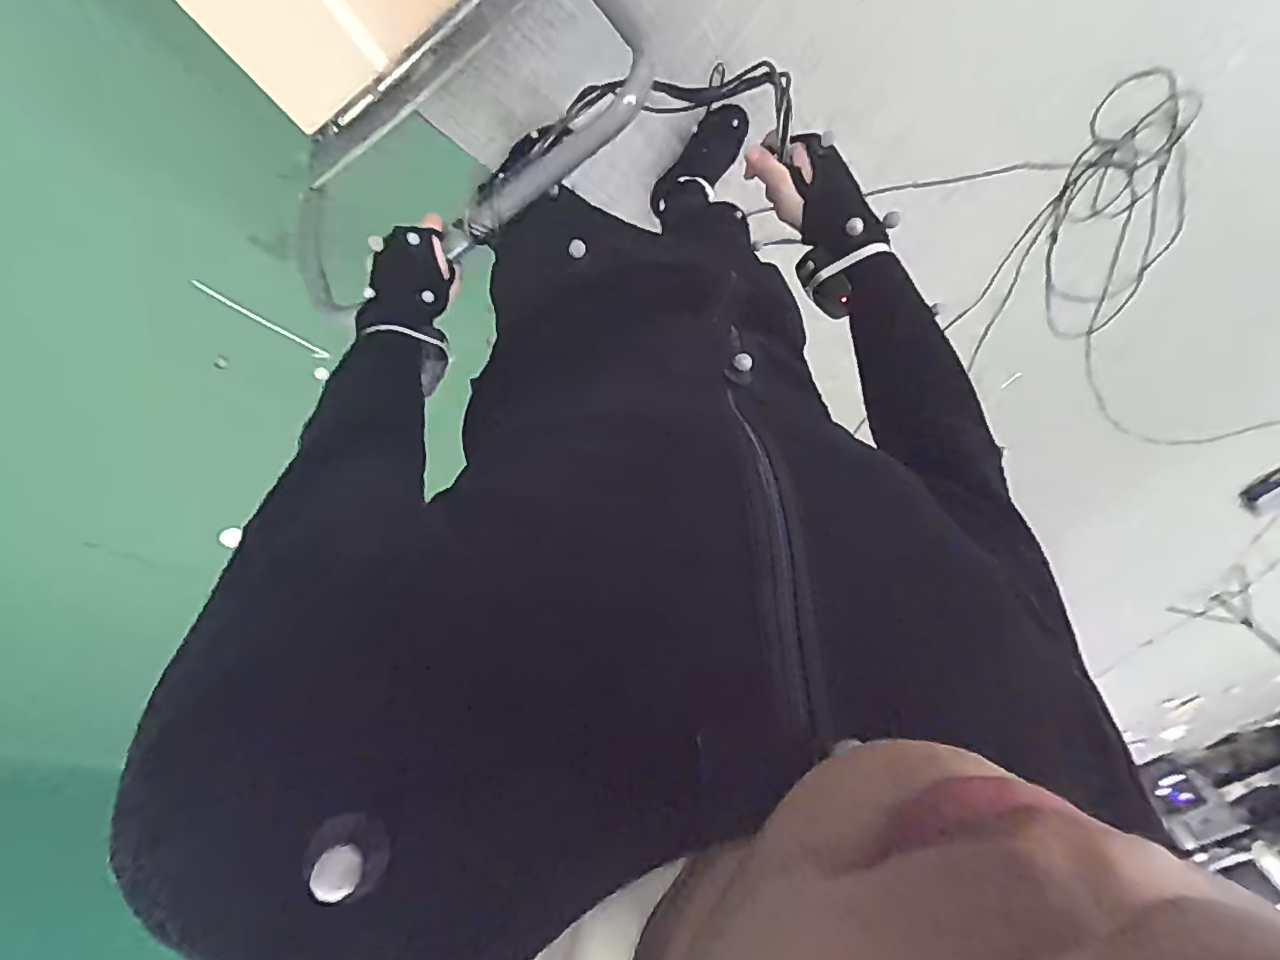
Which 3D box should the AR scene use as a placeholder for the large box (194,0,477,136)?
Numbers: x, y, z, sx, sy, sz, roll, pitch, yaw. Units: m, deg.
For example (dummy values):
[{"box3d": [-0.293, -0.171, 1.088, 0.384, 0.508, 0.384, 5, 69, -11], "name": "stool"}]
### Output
[{"box3d": [-0.474, -0.792, 0.735, 0.320, 0.320, 0.408, -31, 138, 13], "name": "large box"}]
